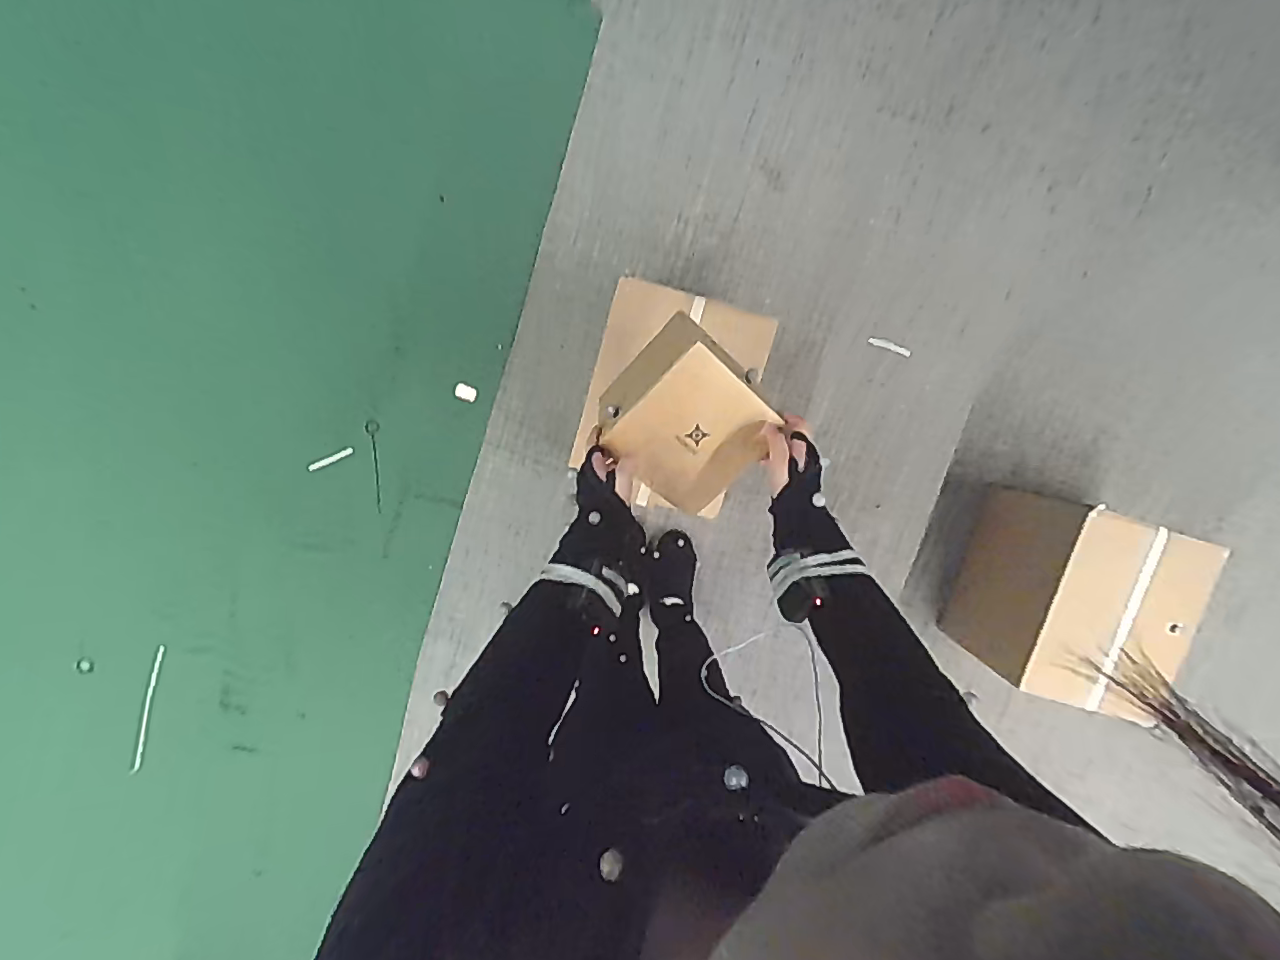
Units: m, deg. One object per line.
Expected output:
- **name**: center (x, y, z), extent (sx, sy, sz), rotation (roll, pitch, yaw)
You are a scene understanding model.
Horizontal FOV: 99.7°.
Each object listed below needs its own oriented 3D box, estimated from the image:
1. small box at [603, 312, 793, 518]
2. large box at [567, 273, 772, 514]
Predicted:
- **small box**: center (0.064, -0.092, 0.714), extent (0.168, 0.176, 0.179), rotation (38, 113, -23)
- **large box**: center (0.053, -0.174, 1.182), extent (0.320, 0.320, 0.408), rotation (16, 97, -3)
